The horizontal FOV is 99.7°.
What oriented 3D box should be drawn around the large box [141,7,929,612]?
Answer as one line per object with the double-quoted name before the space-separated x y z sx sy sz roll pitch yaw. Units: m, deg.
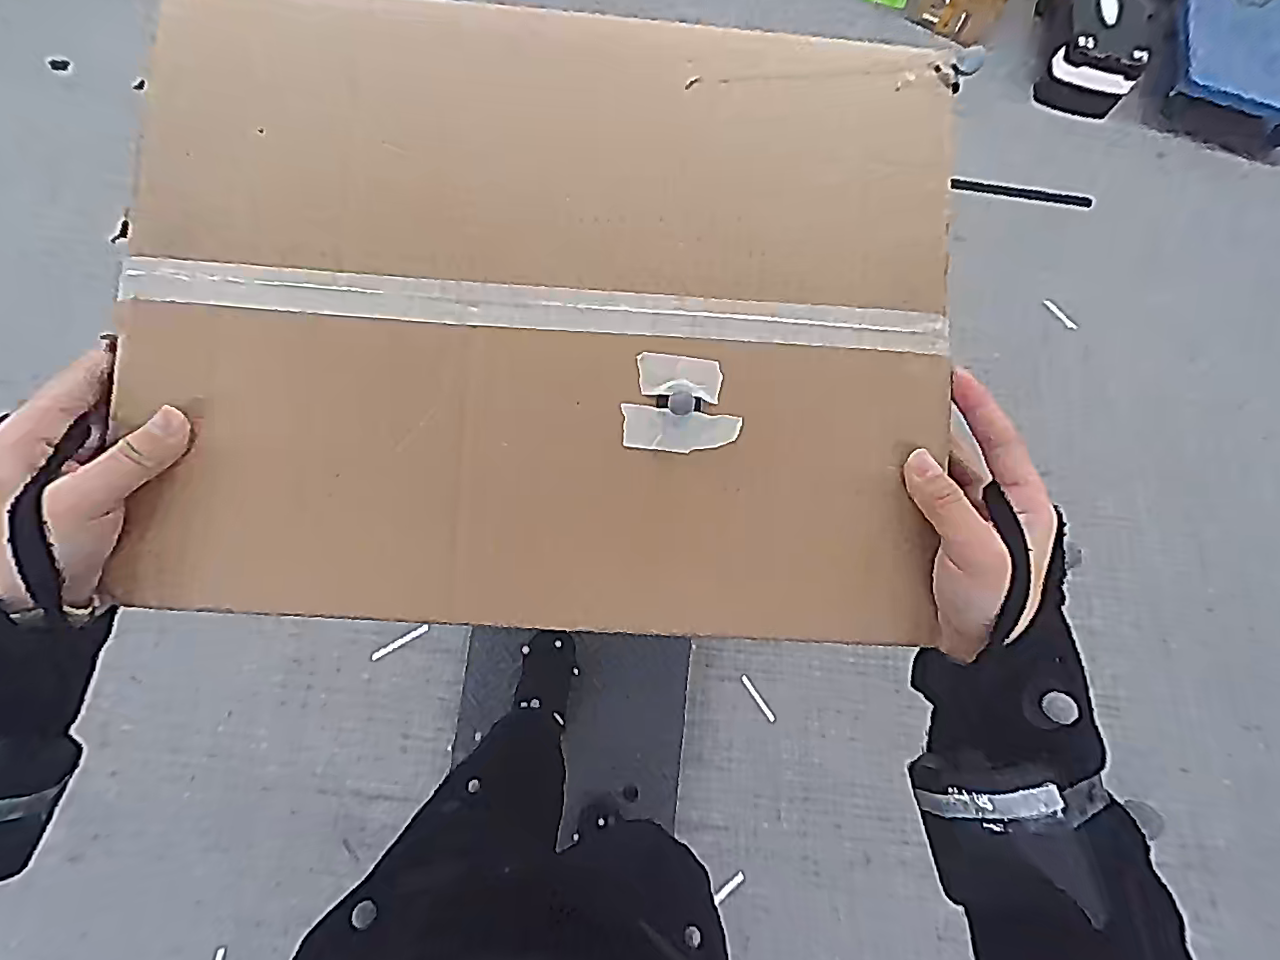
"large box" -0.052 -0.082 0.435 0.408 0.320 0.320 4 87 -3
